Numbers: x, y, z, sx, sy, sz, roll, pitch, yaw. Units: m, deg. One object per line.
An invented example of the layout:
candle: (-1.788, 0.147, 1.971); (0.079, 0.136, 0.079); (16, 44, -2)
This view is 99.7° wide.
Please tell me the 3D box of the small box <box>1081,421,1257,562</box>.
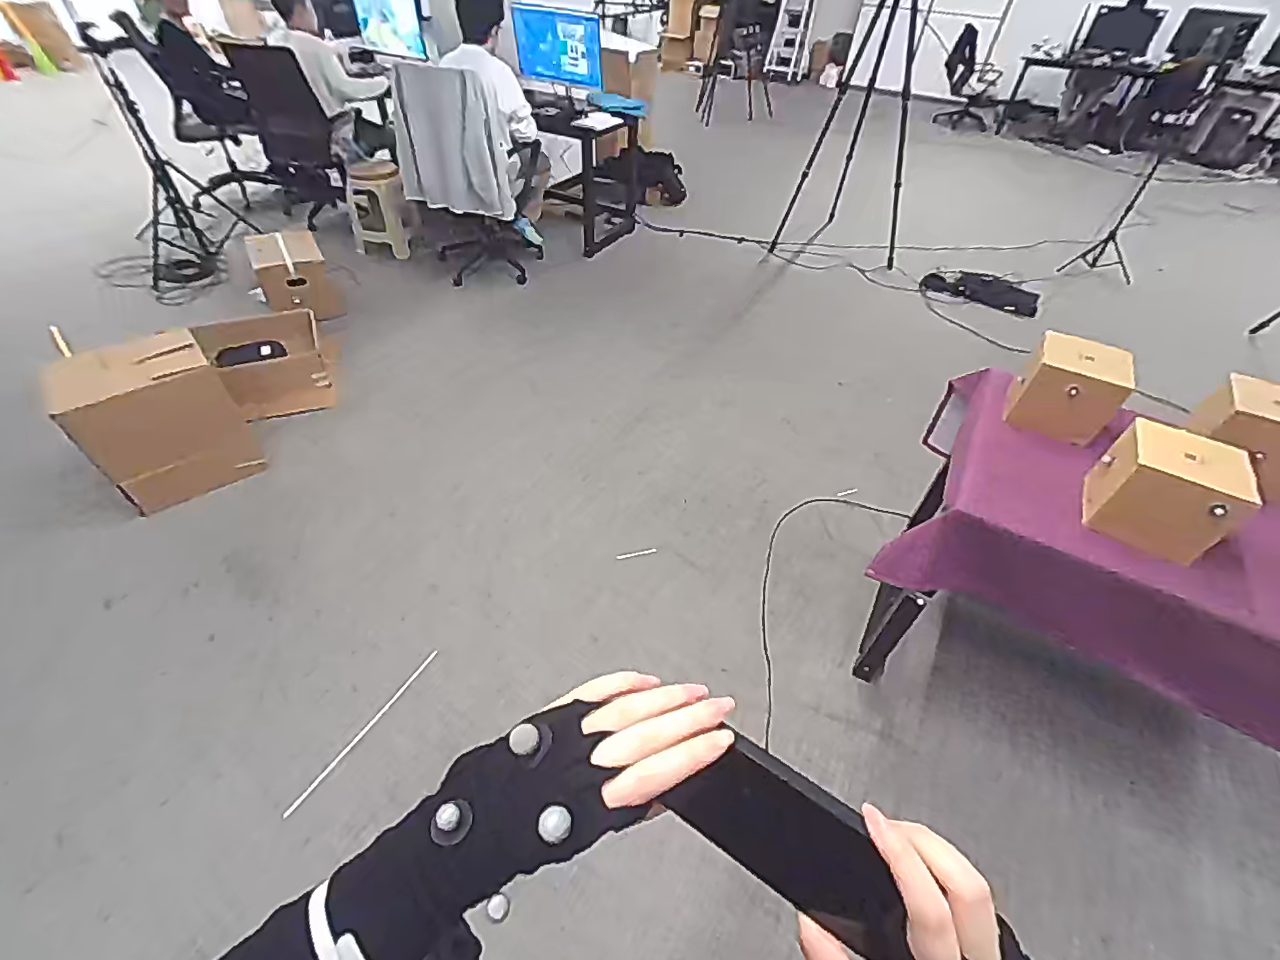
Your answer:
small box: (0.977, 0.024, 1.020); (0.179, 0.176, 0.168); (27, 49, 20)
